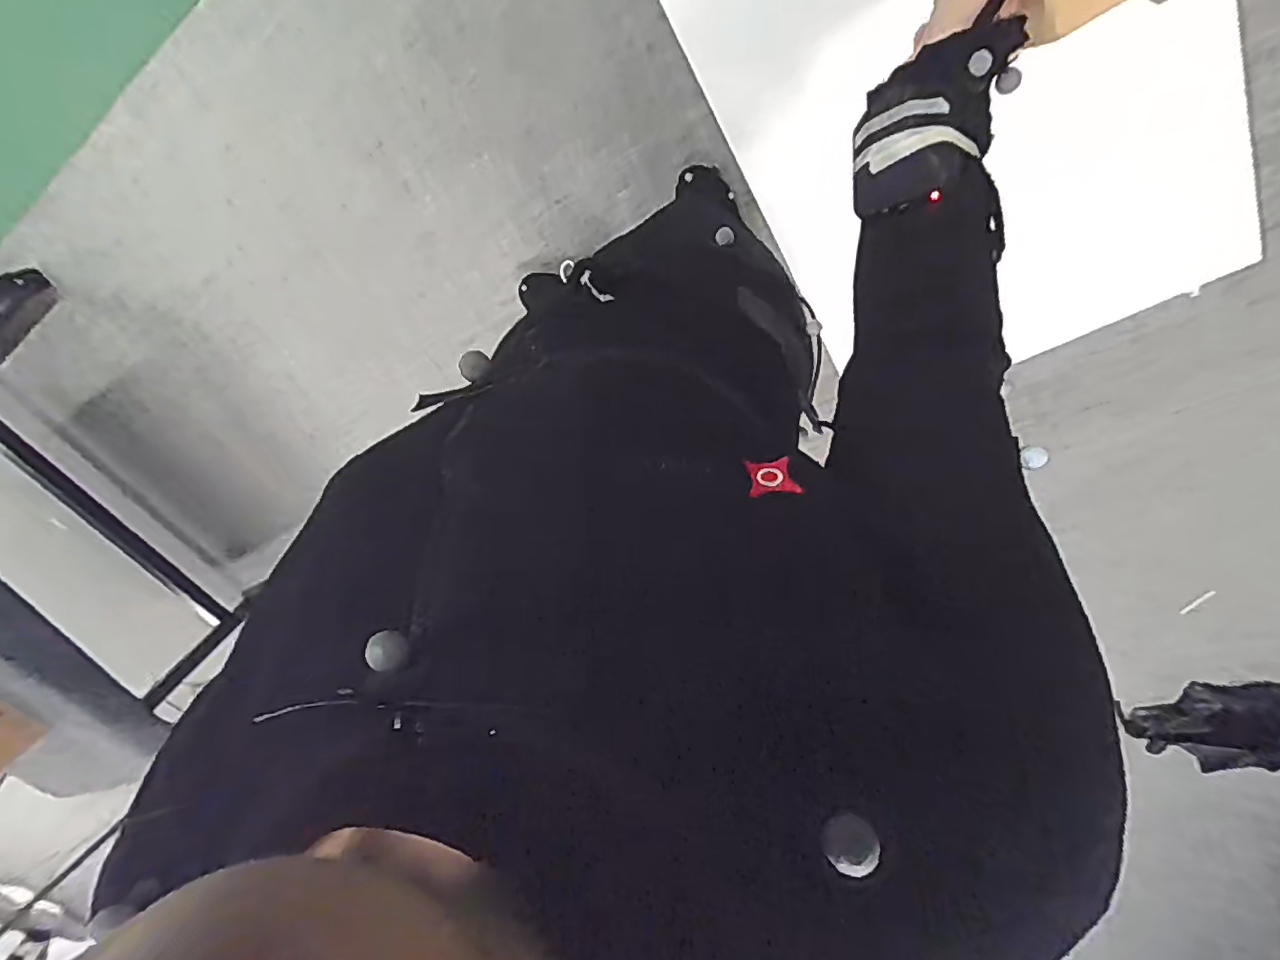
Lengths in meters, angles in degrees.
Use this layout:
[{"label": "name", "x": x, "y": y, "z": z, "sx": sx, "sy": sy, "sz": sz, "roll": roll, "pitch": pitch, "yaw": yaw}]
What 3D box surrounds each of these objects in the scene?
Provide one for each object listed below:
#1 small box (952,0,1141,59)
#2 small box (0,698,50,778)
[{"label": "small box", "x": 0.320, "y": -0.422, "z": 0.358, "sx": 0.179, "sy": 0.176, "sz": 0.168, "roll": -22, "pitch": 117, "yaw": 24}, {"label": "small box", "x": -1.559, "y": 0.632, "z": 1.267, "sx": 0.179, "sy": 0.176, "sz": 0.168, "roll": -32, "pitch": 111, "yaw": 29}]
